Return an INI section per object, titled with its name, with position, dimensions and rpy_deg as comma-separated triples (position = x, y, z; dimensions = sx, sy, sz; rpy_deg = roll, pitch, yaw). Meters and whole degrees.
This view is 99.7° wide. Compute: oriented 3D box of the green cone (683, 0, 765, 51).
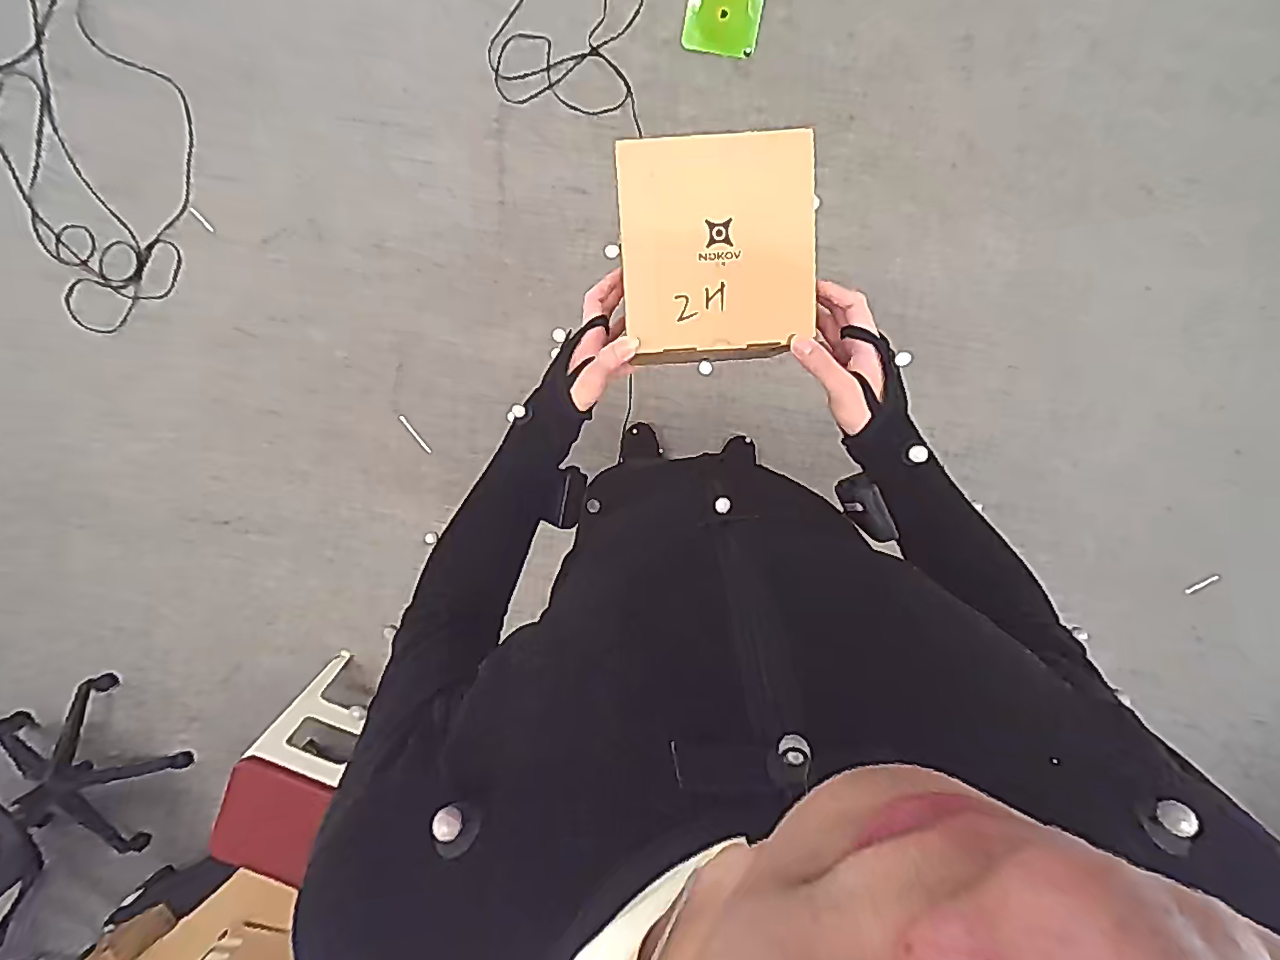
[green cone]
position = 0.215, -1.235, 1.264
dimensions = 0.202, 0.368, 0.200
rpy_deg = 10, 97, 3
